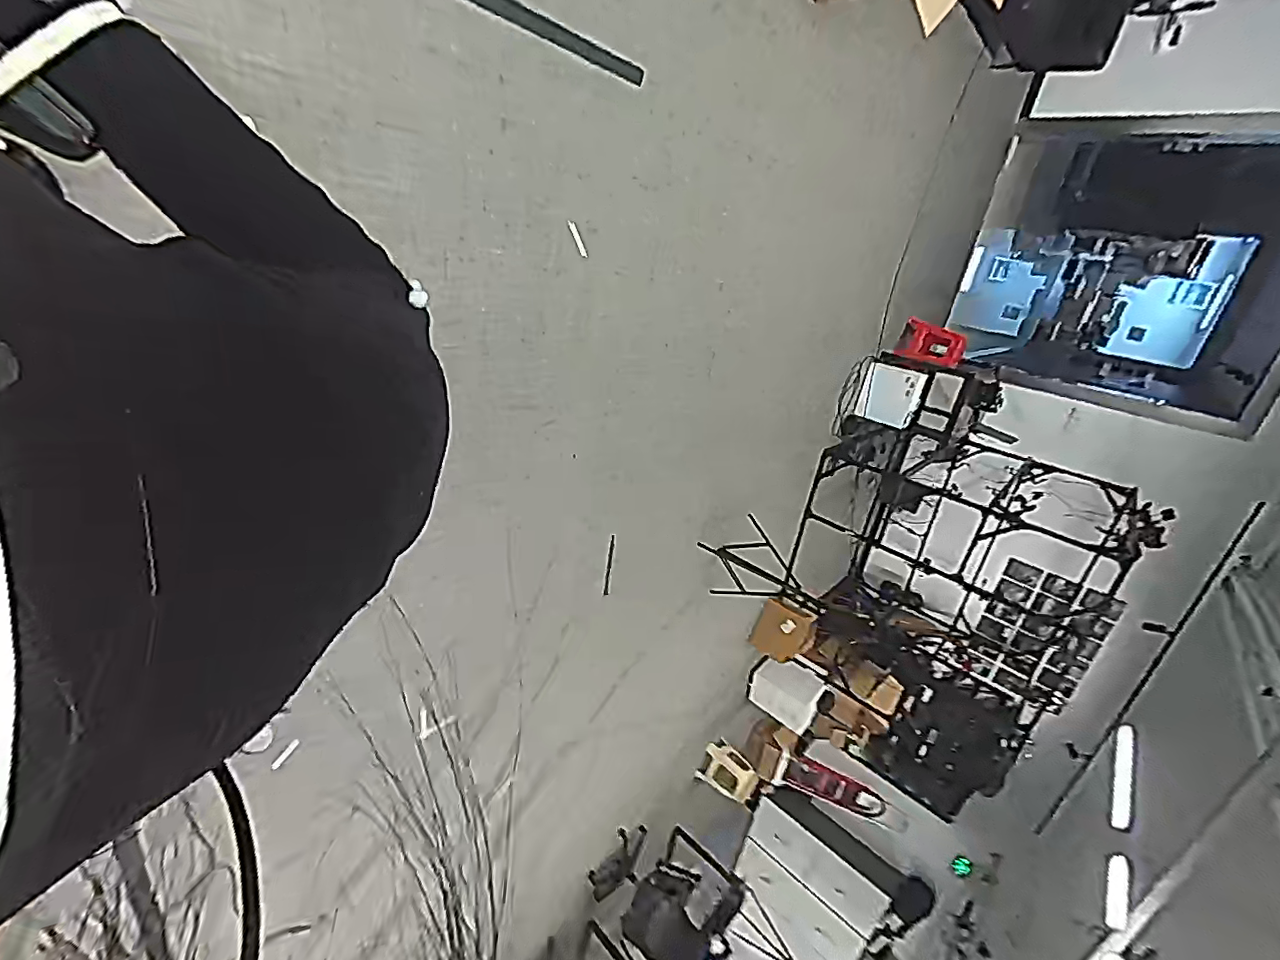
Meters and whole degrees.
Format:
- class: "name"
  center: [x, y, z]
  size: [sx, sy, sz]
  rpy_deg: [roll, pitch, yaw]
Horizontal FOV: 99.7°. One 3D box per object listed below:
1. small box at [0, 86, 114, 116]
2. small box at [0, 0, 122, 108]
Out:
- class: "small box"
  center: [-0.964, -0.681, 0.833]
  size: [0.179, 0.176, 0.168]
  rpy_deg: [-19, 126, -46]
- class: "small box"
  center: [-0.844, -0.631, 0.733]
  size: [0.168, 0.176, 0.179]
  rpy_deg: [-16, 125, -46]
